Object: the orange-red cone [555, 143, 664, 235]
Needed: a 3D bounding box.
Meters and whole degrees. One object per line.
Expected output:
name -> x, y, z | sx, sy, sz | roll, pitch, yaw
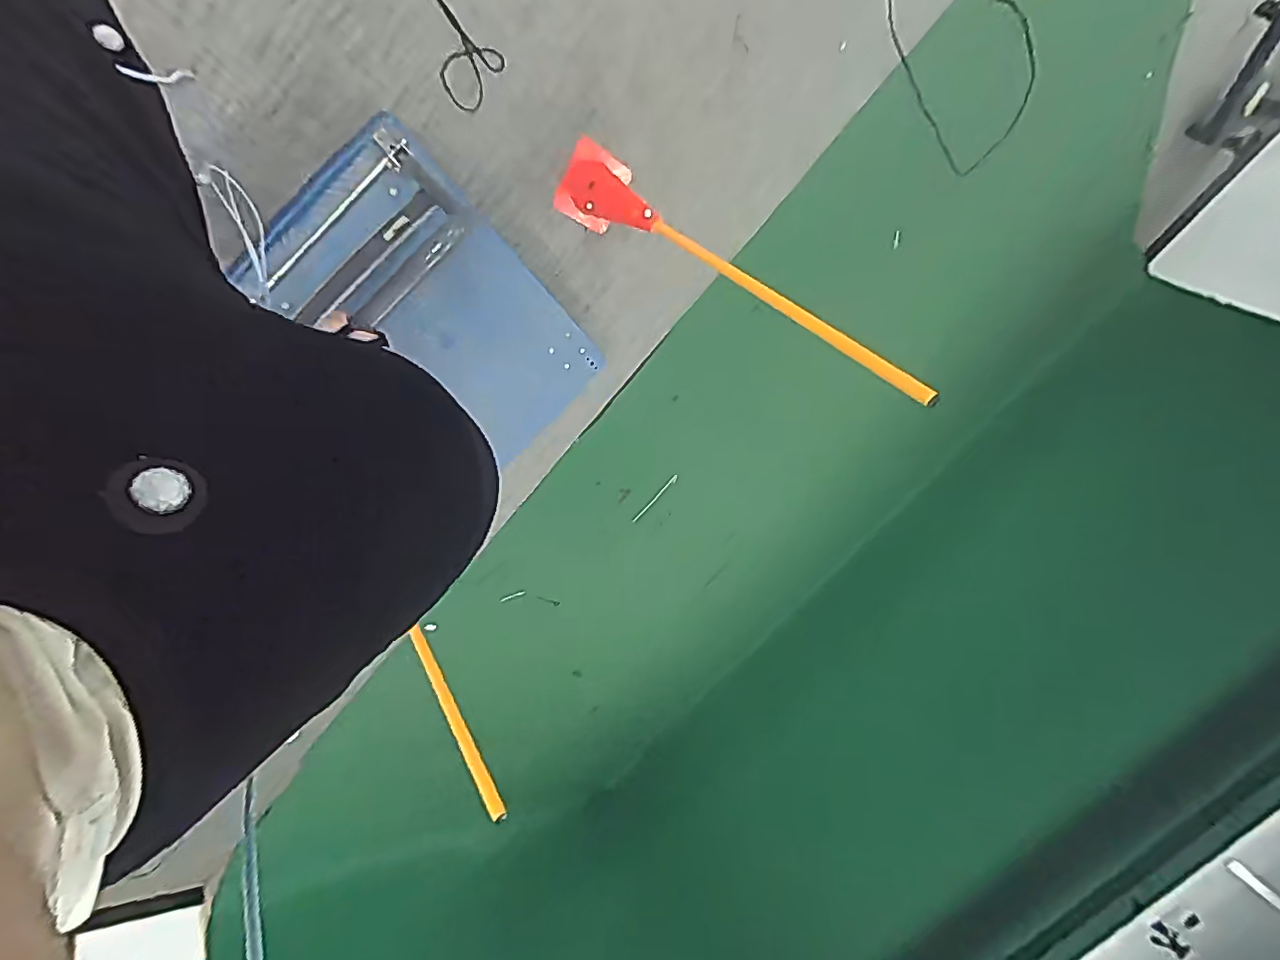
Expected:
orange-red cone -> -0.047, -0.743, 1.473 | 0.198, 0.360, 0.199 | 11, 118, -46
